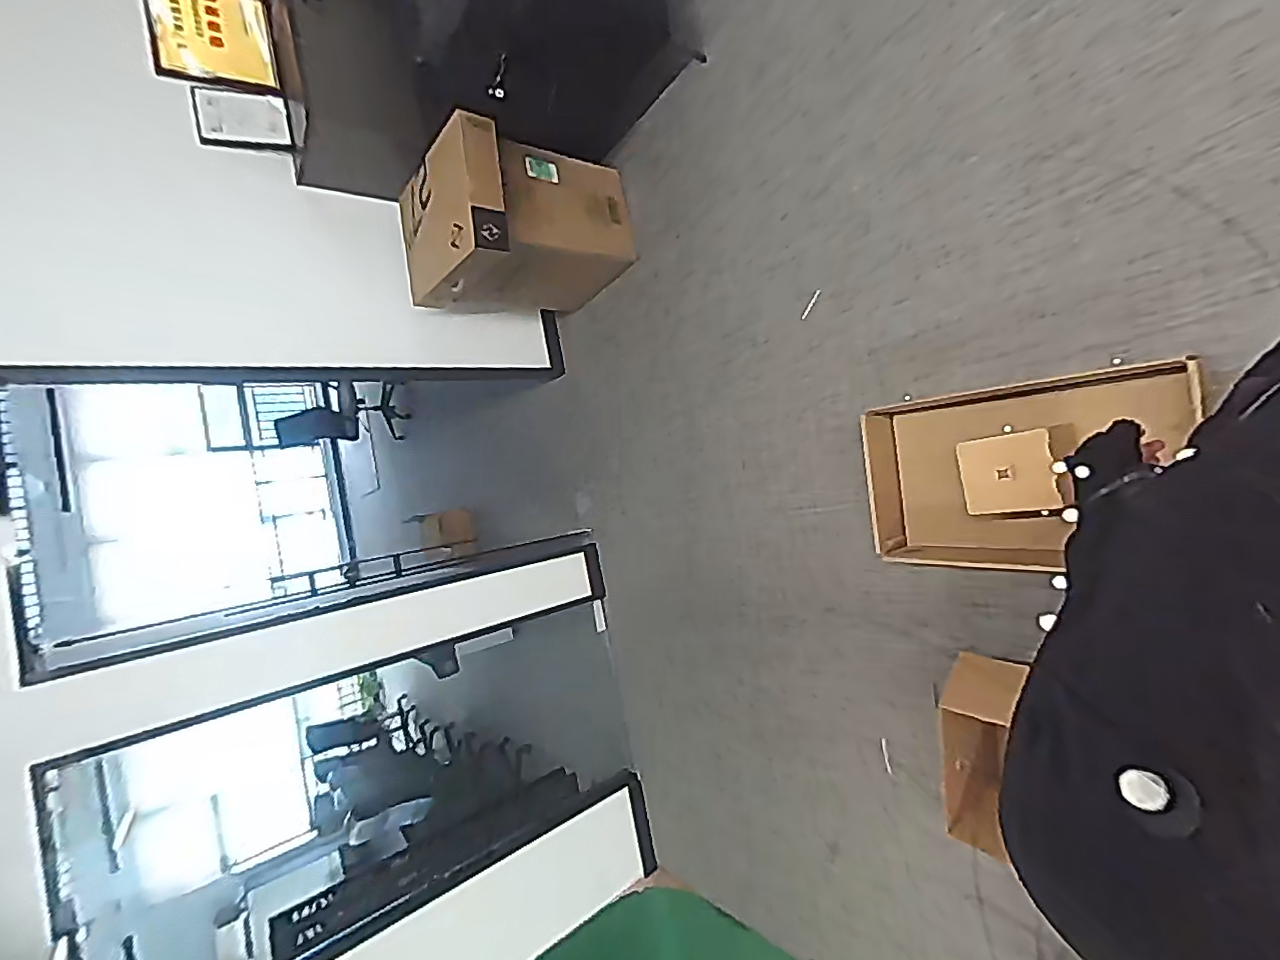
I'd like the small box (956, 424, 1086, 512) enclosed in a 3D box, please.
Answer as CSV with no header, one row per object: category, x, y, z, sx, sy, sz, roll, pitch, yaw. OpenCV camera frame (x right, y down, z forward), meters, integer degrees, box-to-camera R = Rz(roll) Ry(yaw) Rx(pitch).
small box,0.835,-0.025,1.187,0.179,0.176,0.168,-14,85,52
